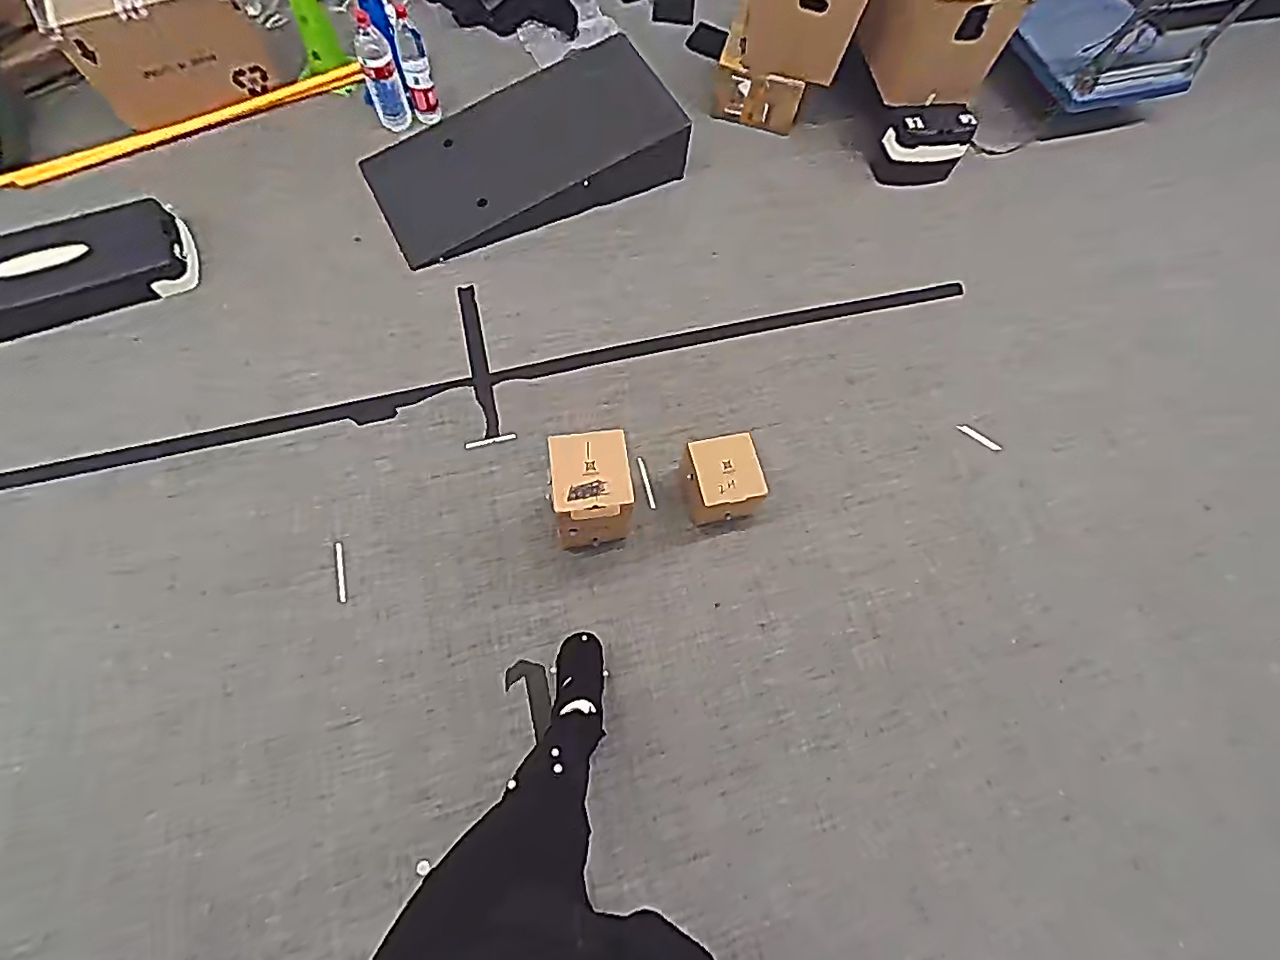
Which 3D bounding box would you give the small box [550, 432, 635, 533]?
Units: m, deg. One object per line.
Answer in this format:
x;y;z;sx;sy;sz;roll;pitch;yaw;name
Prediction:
-0.106;0.013;1.198;0.168;0.176;0.179;-6;69;-7;small box

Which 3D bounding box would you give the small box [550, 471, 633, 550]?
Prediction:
-0.125;0.067;1.353;0.179;0.176;0.168;-10;70;-10;small box

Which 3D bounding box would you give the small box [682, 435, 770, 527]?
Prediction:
0.214;0.006;1.405;0.168;0.176;0.179;-10;71;-8;small box
